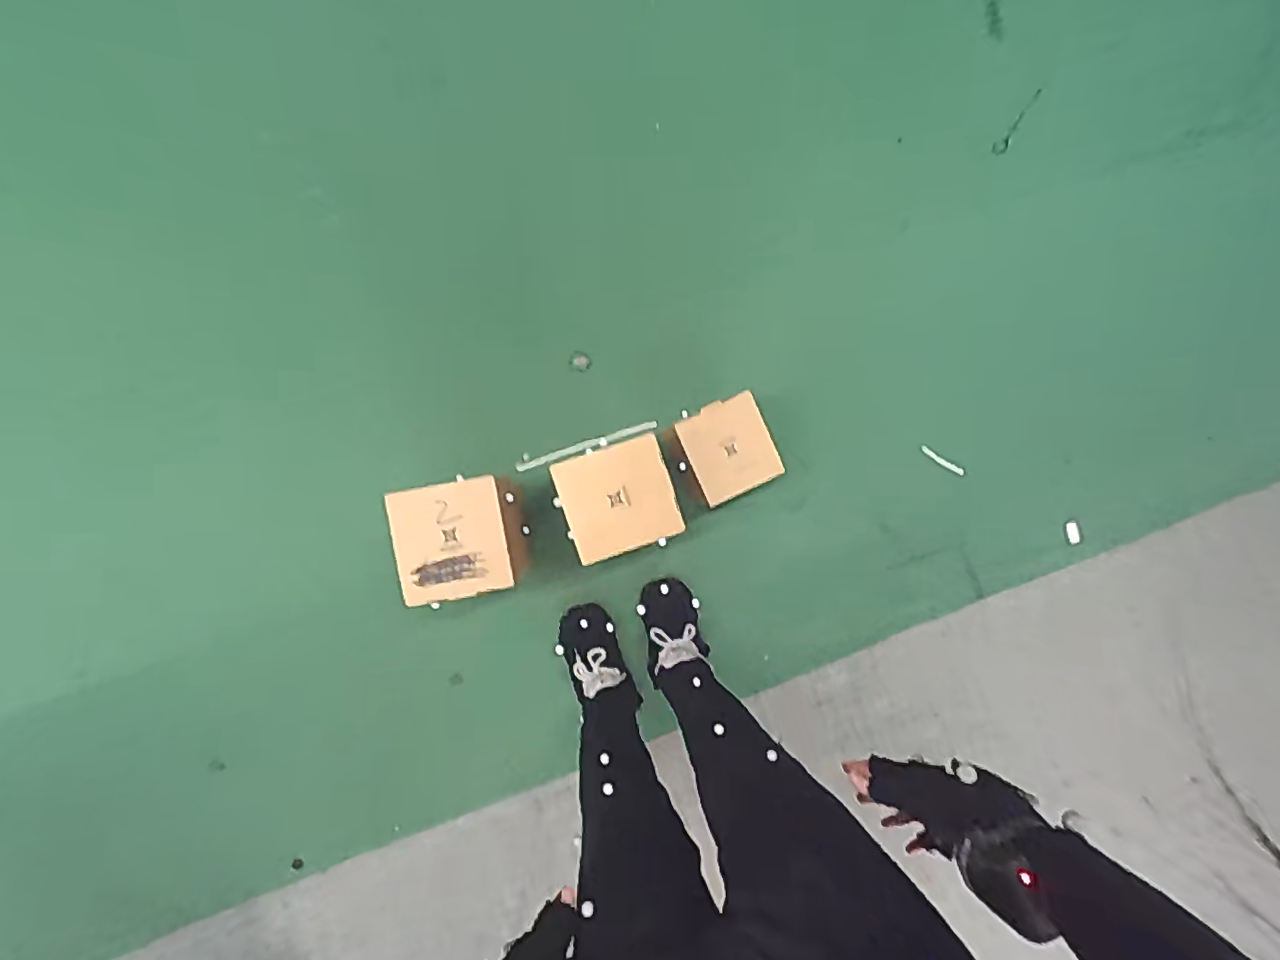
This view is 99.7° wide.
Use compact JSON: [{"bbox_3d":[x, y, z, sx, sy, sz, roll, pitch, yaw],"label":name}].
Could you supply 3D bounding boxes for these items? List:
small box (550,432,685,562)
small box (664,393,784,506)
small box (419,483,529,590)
[{"bbox_3d":[-0.042,0.028,0.921,0.179,0.176,0.168,-18,92,-7],"label":"small box"},{"bbox_3d":[0.162,-0.057,1.110,0.168,0.176,0.179,-24,92,-6],"label":"small box"},{"bbox_3d":[-0.314,0.103,1.054,0.168,0.176,0.179,-8,92,-6],"label":"small box"}]
